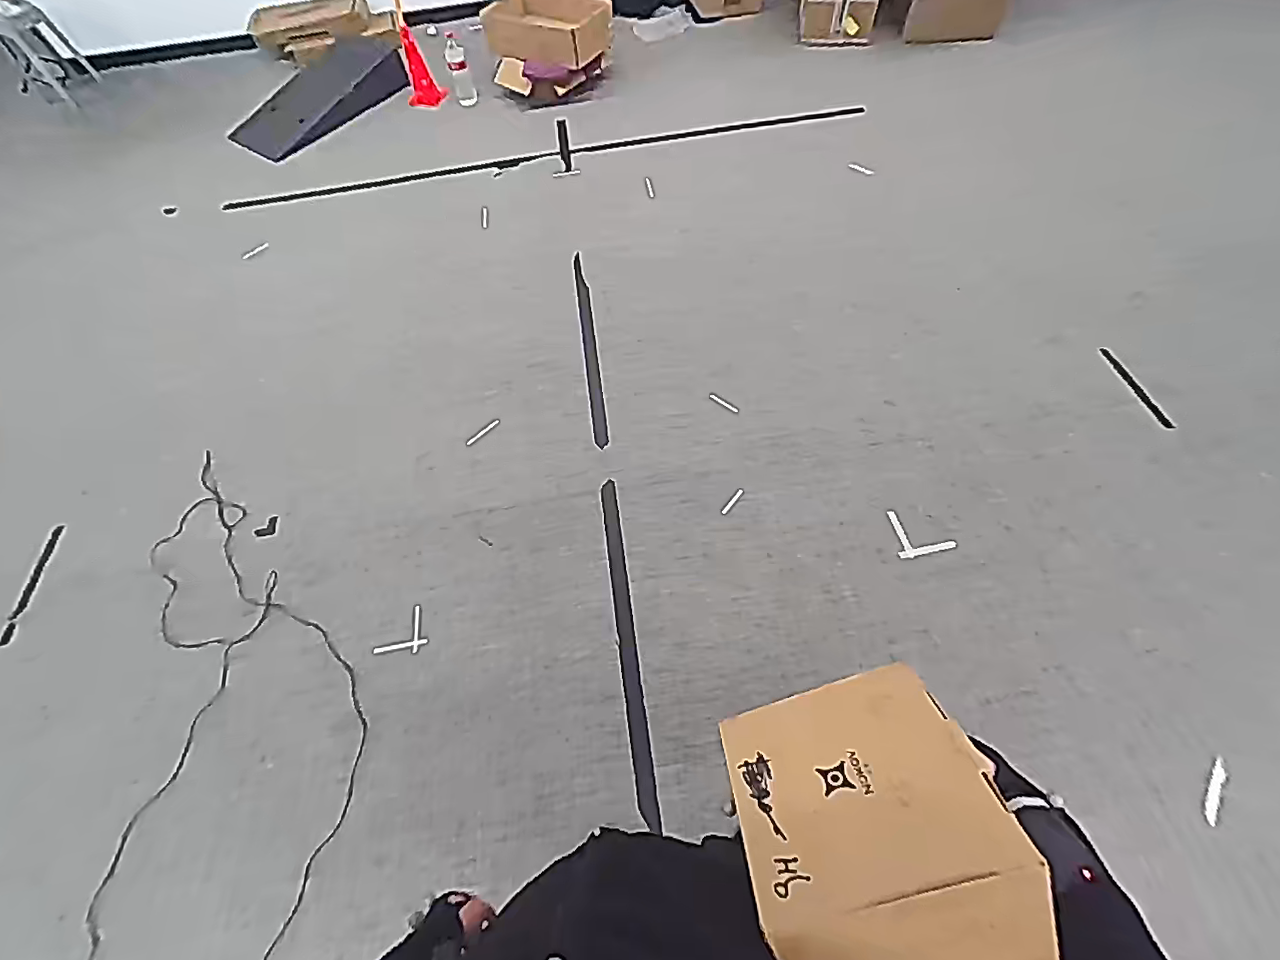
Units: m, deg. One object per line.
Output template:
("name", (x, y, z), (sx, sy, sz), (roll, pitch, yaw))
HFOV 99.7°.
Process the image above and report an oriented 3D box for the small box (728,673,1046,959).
("small box", (0.190, 0.298, 0.442), (0.179, 0.176, 0.168), (-20, 22, 7))
